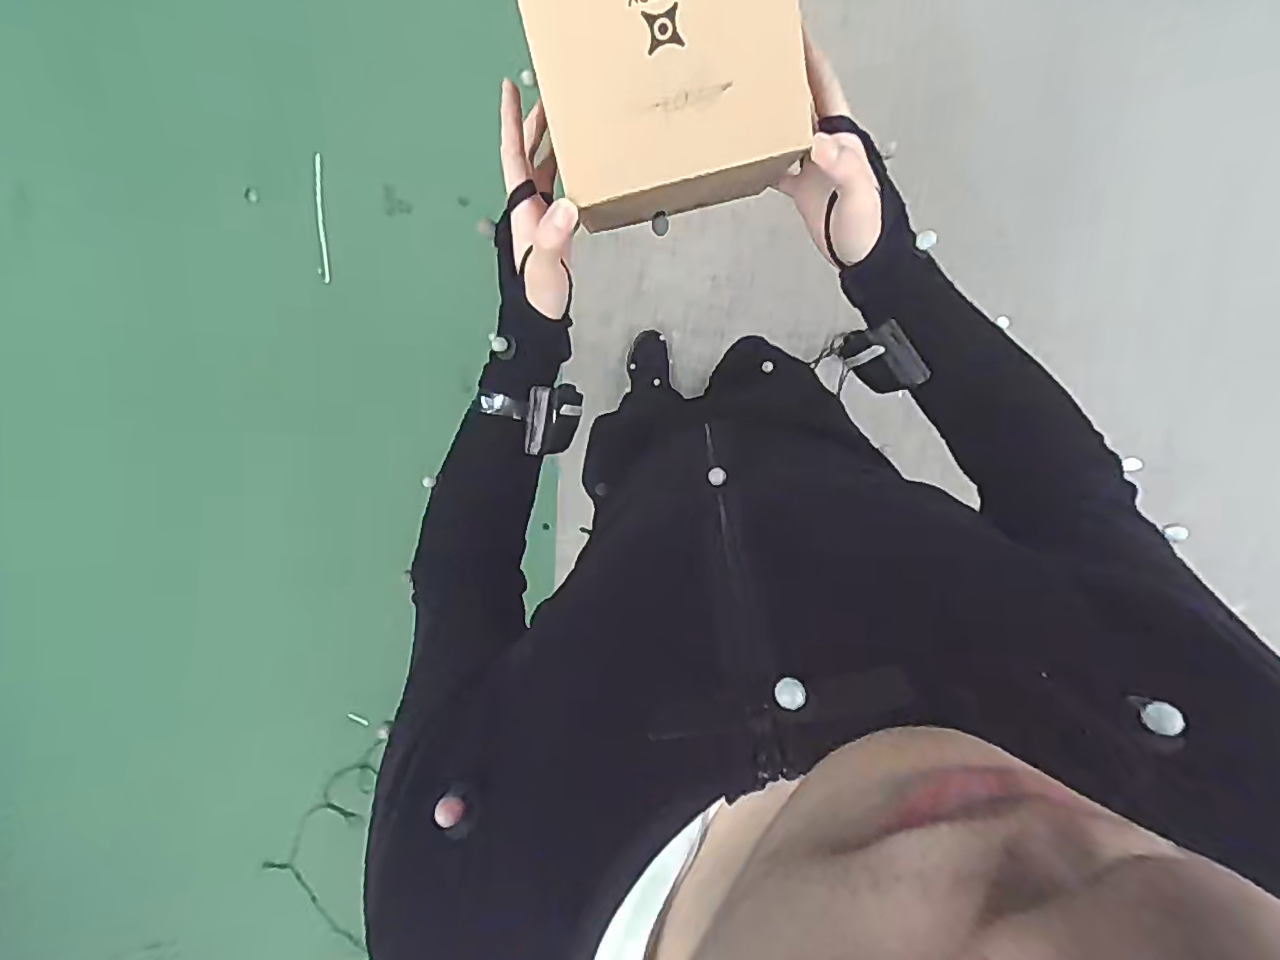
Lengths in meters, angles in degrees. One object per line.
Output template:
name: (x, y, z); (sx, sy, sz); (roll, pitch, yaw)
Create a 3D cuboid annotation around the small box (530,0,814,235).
small box: (0.018, -0.301, 0.406); (0.168, 0.176, 0.179); (-10, 108, 5)
